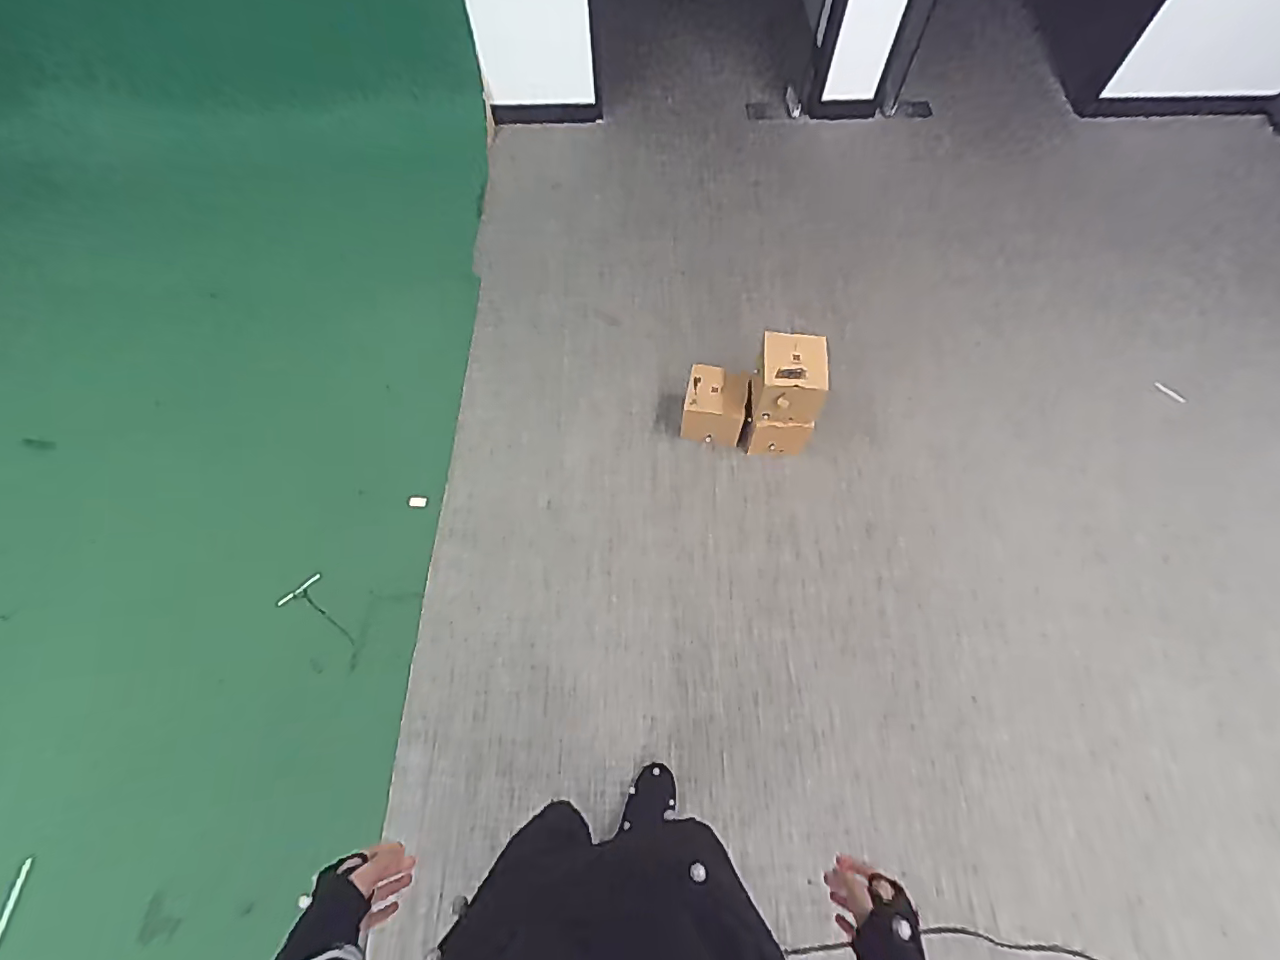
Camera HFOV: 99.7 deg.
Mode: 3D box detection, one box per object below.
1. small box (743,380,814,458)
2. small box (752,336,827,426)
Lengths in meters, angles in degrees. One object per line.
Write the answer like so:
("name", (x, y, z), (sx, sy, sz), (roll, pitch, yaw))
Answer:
("small box", (0.406, -0.181, 1.615), (0.168, 0.176, 0.179), (0, 64, 0))
("small box", (0.403, -0.264, 1.472), (0.168, 0.176, 0.179), (5, 64, 3))
